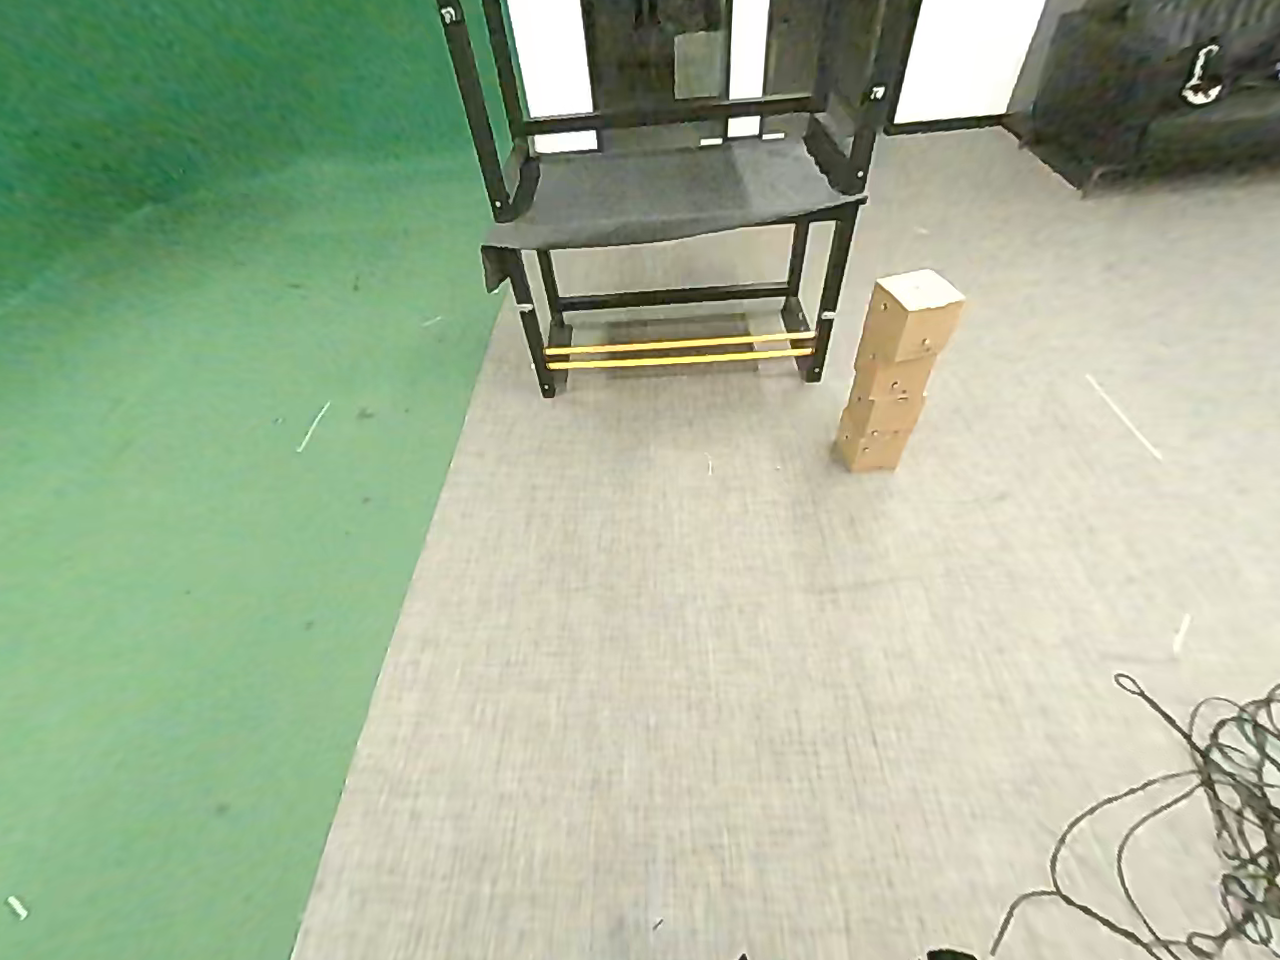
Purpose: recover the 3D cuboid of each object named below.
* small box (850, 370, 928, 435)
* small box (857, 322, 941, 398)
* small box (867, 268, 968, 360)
[{"bbox_3d":[0.810,-0.261,1.775,0.168,0.176,0.179,-5,47,1],"label":"small box"},{"bbox_3d":[0.784,-0.373,1.658,0.168,0.176,0.179,-4,49,4],"label":"small box"},{"bbox_3d":[0.769,-0.466,1.524,0.168,0.176,0.179,-13,50,-5],"label":"small box"}]
